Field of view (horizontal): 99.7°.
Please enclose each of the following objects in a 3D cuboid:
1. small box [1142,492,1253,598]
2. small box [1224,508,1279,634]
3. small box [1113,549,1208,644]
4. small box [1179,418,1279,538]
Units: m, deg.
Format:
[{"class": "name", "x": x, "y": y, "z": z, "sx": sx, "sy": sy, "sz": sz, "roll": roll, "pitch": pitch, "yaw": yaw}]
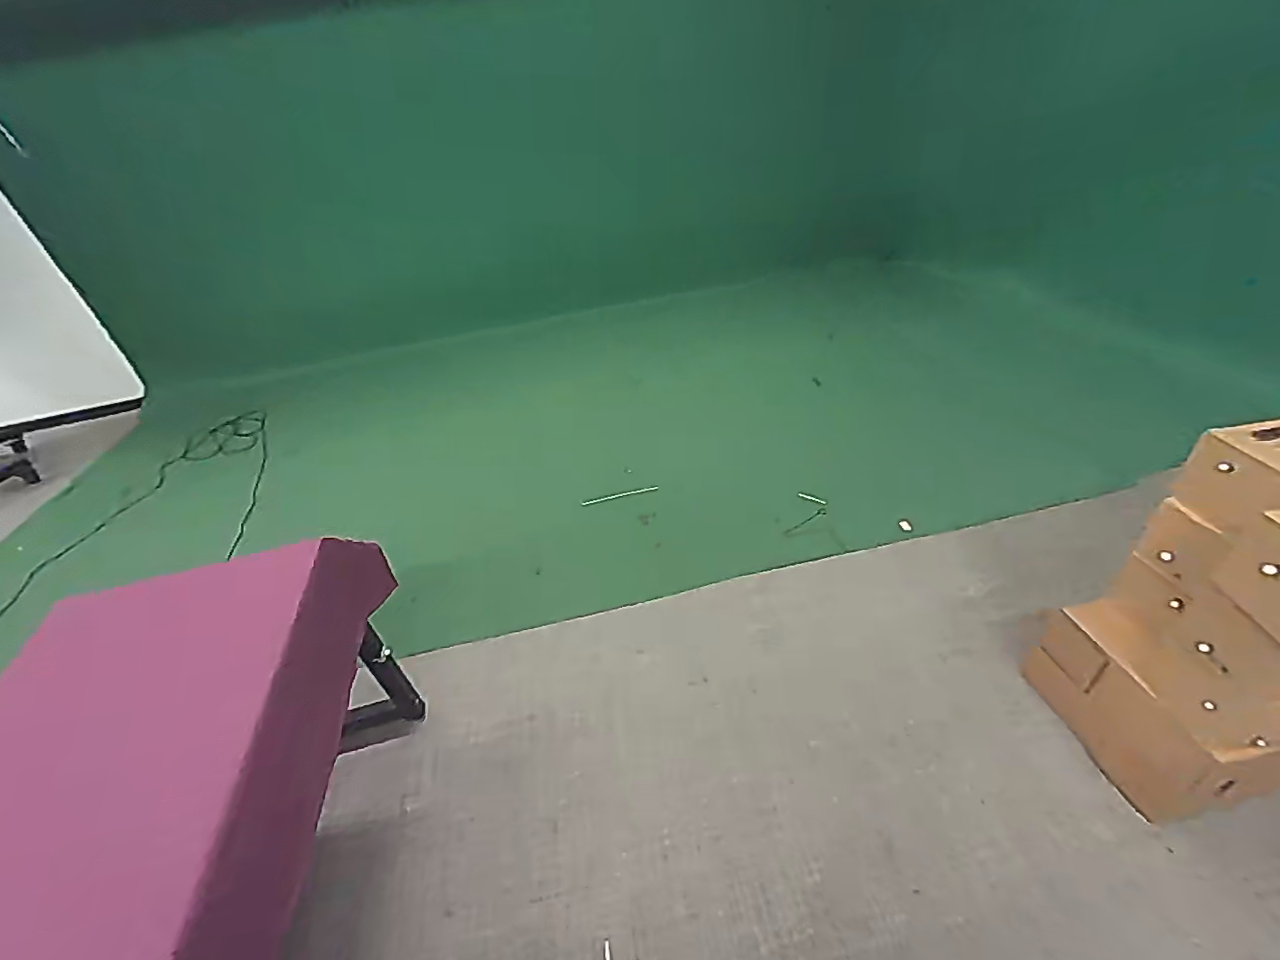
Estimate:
[{"class": "small box", "x": 1.261, "y": 0.130, "z": 1.171, "sx": 0.179, "sy": 0.176, "sz": 0.168, "roll": -12, "pitch": 36, "yaw": -3}, {"class": "small box", "x": 1.134, "y": 0.161, "z": 0.877, "sx": 0.168, "sy": 0.176, "sz": 0.179, "roll": -4, "pitch": 36, "yaw": 7}, {"class": "small box", "x": 1.281, "y": 0.262, "z": 1.265, "sx": 0.168, "sy": 0.176, "sz": 0.179, "roll": -11, "pitch": 36, "yaw": -6}, {"class": "small box", "x": 1.251, "y": -0.003, "z": 1.074, "sx": 0.168, "sy": 0.176, "sz": 0.179, "roll": -8, "pitch": 36, "yaw": 1}]
